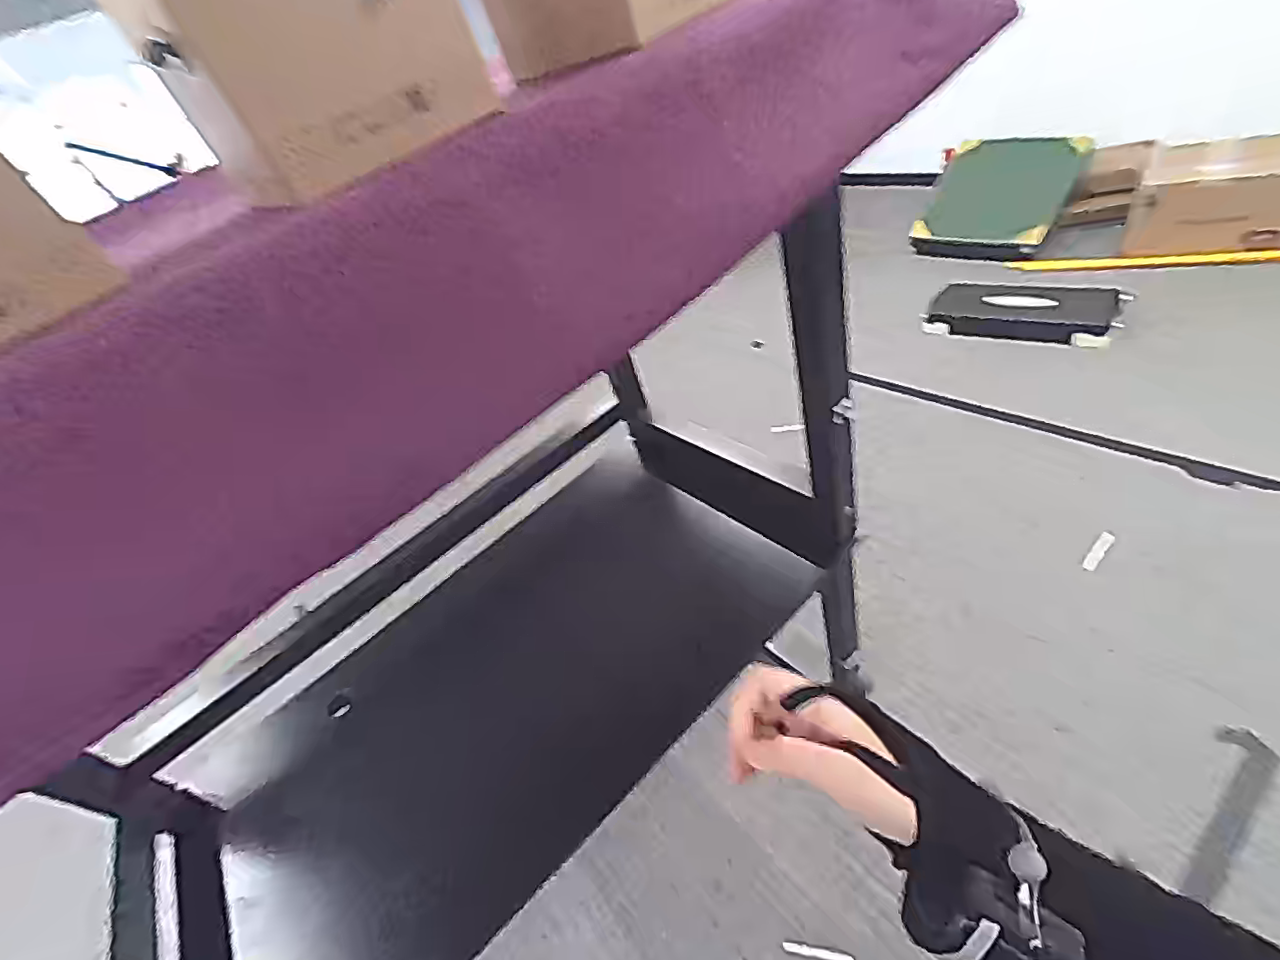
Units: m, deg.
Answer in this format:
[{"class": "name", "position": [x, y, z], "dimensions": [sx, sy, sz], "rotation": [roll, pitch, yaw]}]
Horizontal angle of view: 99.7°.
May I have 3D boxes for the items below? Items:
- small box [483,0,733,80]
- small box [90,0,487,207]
[{"class": "small box", "position": [-0.039, -0.462, 0.446], "dimensions": [0.179, 0.176, 0.168], "rotation": [22, 58, 40]}, {"class": "small box", "position": [-0.237, -0.304, 0.369], "dimensions": [0.168, 0.176, 0.179], "rotation": [-43, 44, -23]}]
